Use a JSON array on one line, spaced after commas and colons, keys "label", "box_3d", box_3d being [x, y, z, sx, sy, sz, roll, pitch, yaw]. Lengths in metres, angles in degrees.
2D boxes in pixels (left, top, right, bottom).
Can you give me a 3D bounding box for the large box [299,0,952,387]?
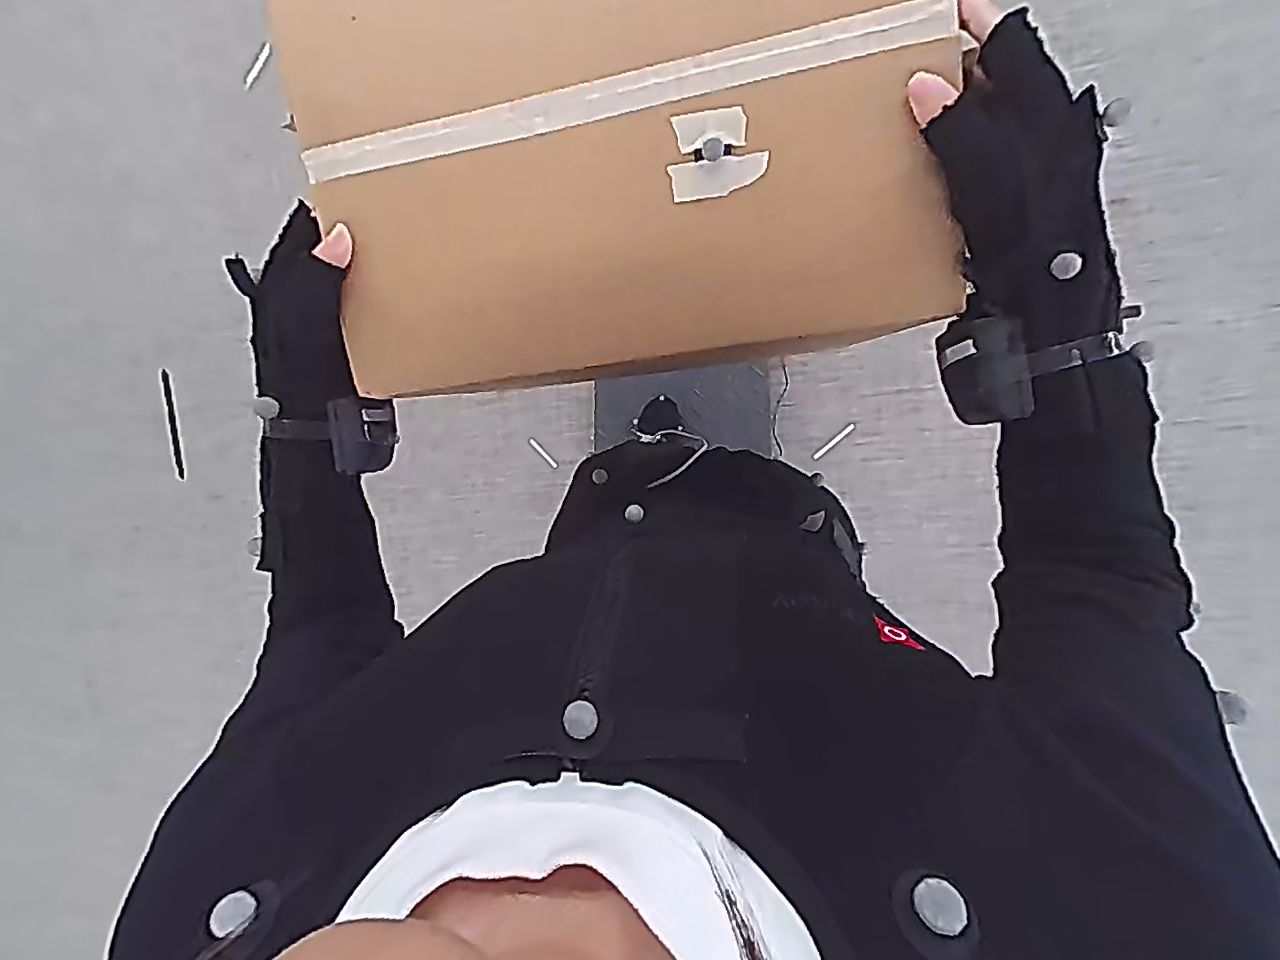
[{"label": "large box", "box_3d": [0.000, -0.269, 0.490, 0.408, 0.320, 0.320, -6, 100, 10]}]
